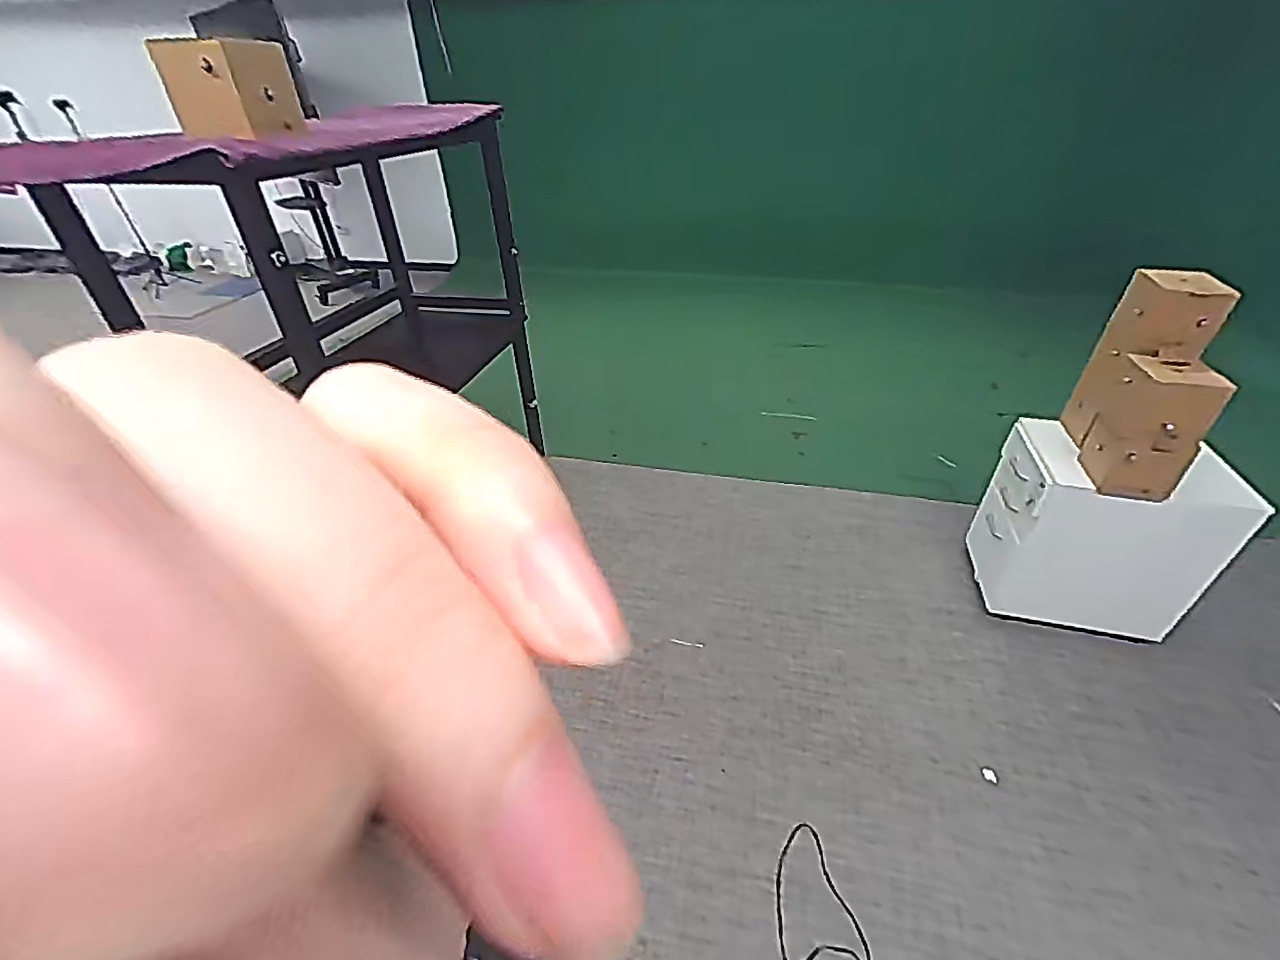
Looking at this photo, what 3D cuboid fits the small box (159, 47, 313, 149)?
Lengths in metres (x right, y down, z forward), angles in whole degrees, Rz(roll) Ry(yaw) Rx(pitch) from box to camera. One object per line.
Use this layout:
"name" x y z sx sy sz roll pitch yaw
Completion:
"small box" -0.852 -0.817 1.162 0.179 0.176 0.168 6 35 10

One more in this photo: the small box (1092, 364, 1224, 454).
"small box" 1.356 -0.191 1.434 0.168 0.176 0.179 8 36 13

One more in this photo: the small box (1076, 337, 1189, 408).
"small box" 1.447 -0.312 1.605 0.168 0.176 0.179 9 39 13

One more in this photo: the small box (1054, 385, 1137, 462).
"small box" 1.452 -0.179 1.701 0.168 0.176 0.179 7 38 12

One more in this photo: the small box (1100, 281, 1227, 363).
"small box" 1.443 -0.441 1.506 0.168 0.176 0.179 9 38 11
